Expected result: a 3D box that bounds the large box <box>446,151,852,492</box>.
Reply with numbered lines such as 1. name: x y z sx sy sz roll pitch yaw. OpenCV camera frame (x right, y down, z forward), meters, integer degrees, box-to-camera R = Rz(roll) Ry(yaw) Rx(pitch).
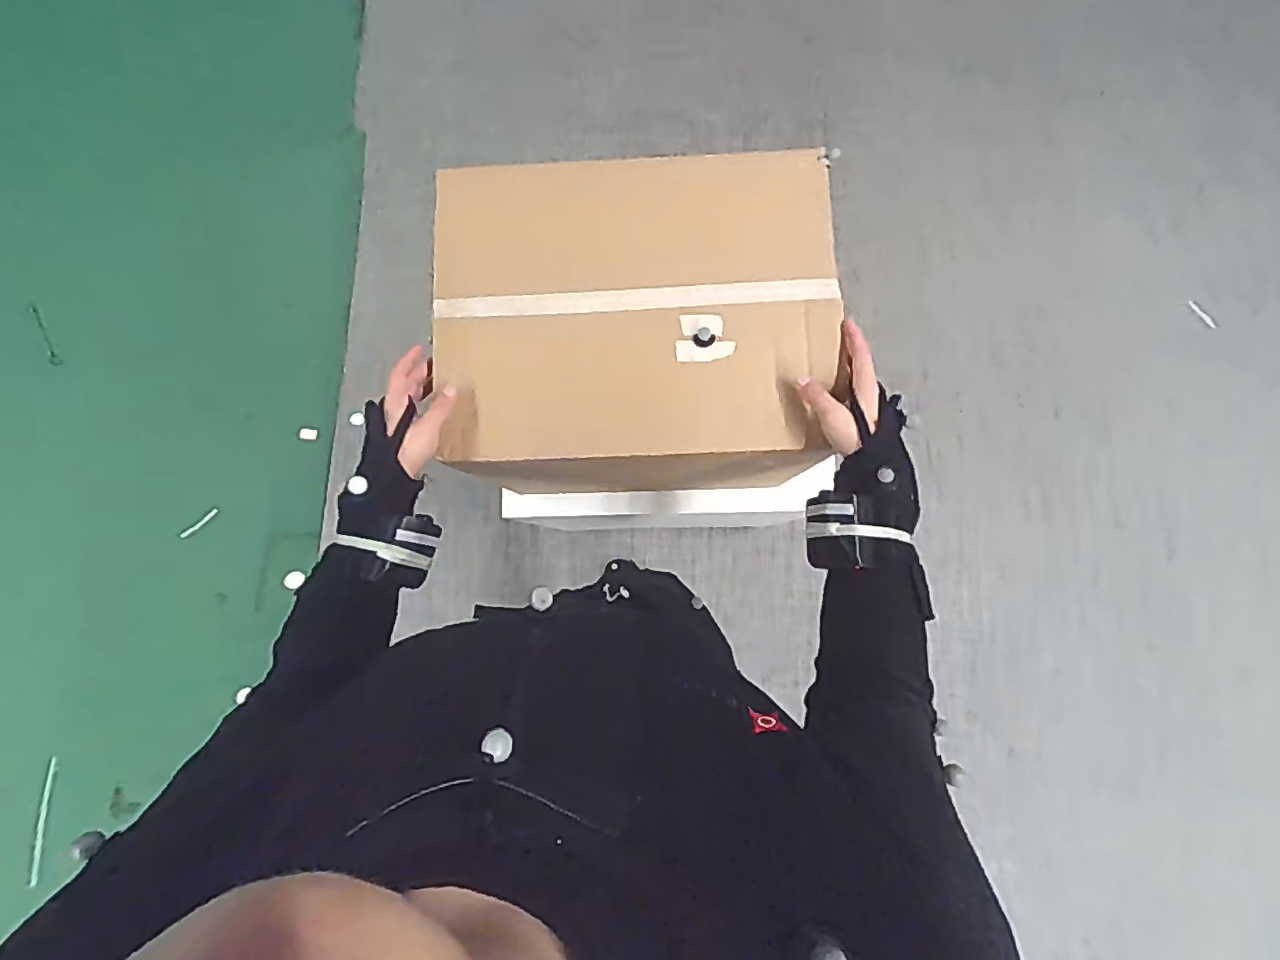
1. large box: 0.002 -0.163 0.693 0.408 0.320 0.320 -2 83 0
